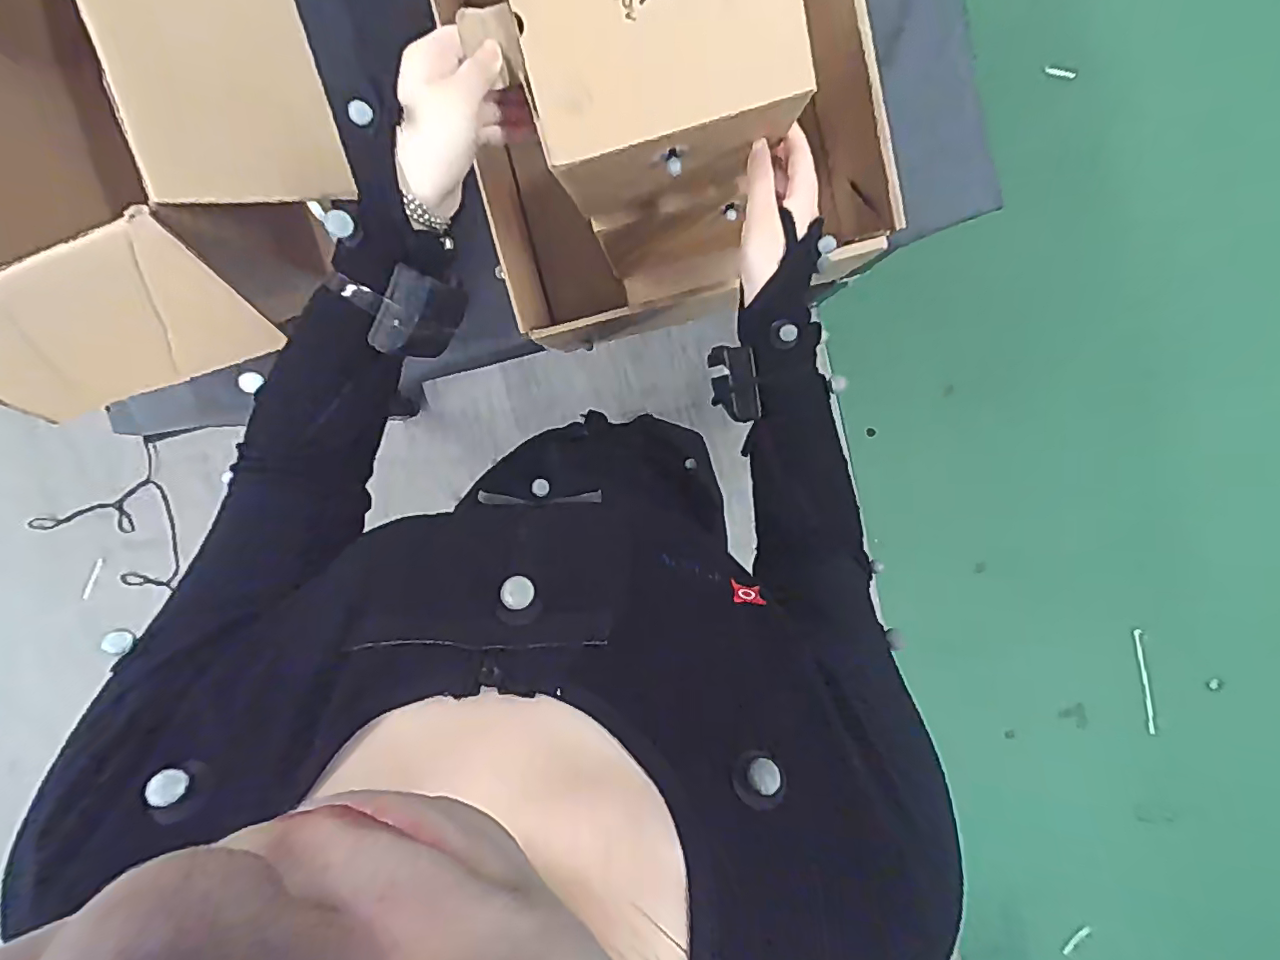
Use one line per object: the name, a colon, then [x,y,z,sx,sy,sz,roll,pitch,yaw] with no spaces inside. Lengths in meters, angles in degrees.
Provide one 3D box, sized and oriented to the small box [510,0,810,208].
small box: [0.011,-0.324,0.408,0.179,0.176,0.168,-13,107,6]
